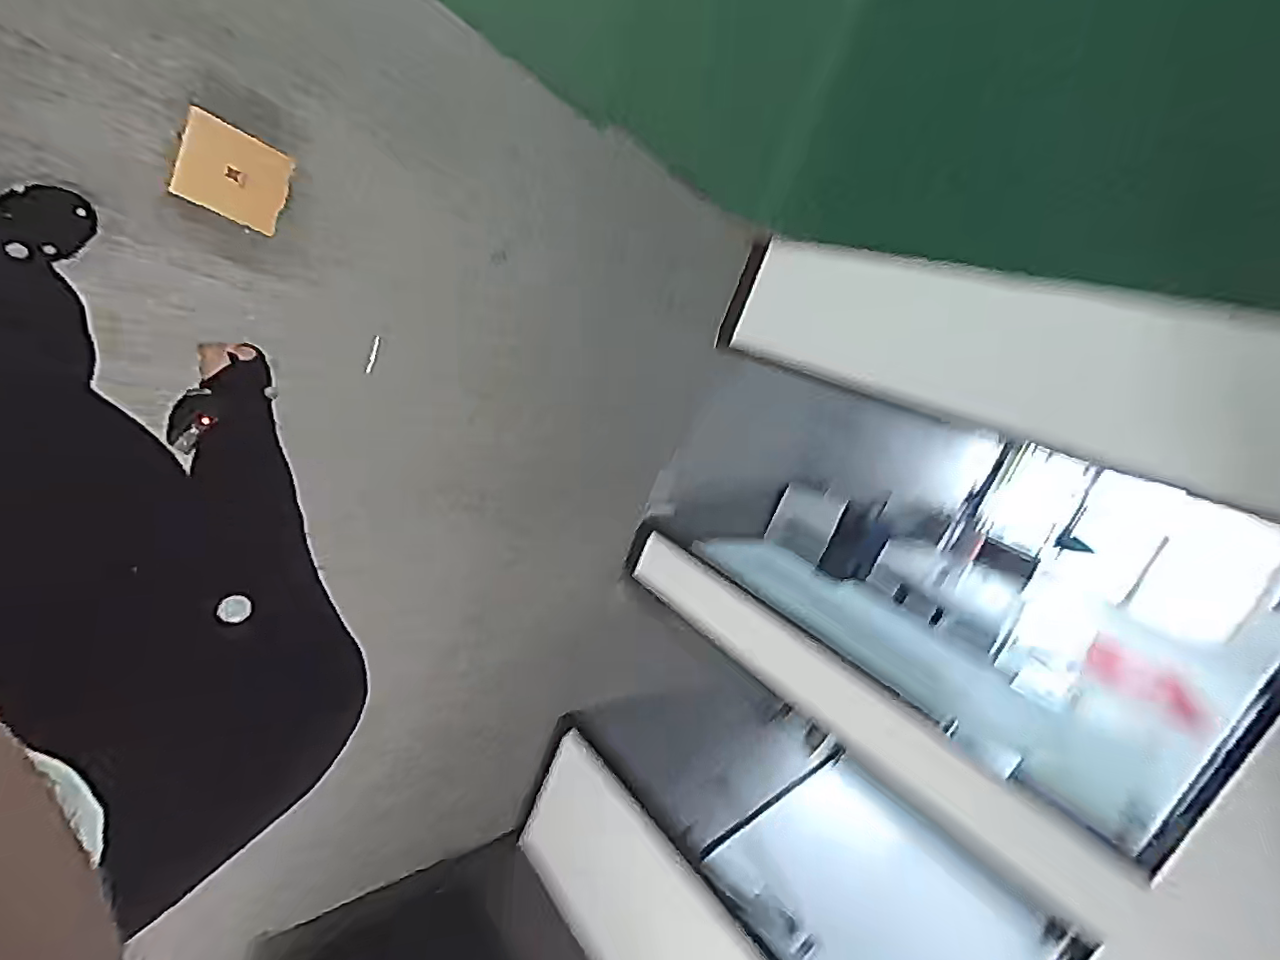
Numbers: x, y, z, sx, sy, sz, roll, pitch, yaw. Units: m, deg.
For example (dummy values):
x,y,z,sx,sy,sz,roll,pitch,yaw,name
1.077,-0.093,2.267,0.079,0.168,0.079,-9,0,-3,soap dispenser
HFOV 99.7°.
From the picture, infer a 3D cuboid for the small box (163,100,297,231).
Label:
x,y,z,sx,sy,sz,roll,pitch,yaw,name
-0.856,-0.647,1.123,0.179,0.176,0.168,15,104,-51,small box
